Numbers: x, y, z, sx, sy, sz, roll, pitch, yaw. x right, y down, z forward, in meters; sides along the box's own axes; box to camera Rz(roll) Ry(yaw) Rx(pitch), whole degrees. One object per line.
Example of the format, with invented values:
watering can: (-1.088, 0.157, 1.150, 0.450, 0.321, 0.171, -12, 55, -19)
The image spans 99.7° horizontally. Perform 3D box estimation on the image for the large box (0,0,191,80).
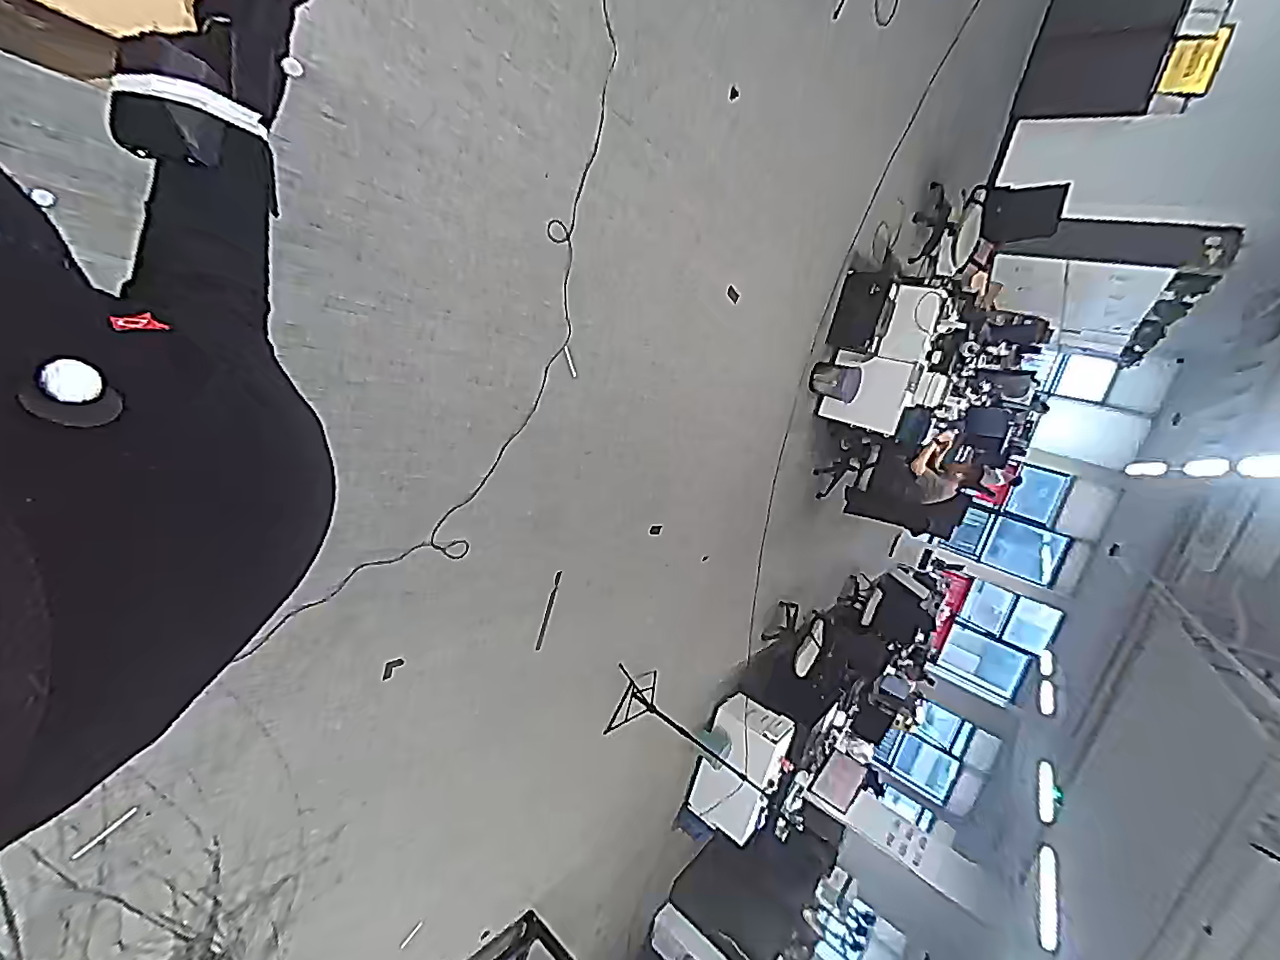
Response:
large box: (-0.503, -0.460, 0.249, 0.408, 0.320, 0.320, -5, 116, -56)
